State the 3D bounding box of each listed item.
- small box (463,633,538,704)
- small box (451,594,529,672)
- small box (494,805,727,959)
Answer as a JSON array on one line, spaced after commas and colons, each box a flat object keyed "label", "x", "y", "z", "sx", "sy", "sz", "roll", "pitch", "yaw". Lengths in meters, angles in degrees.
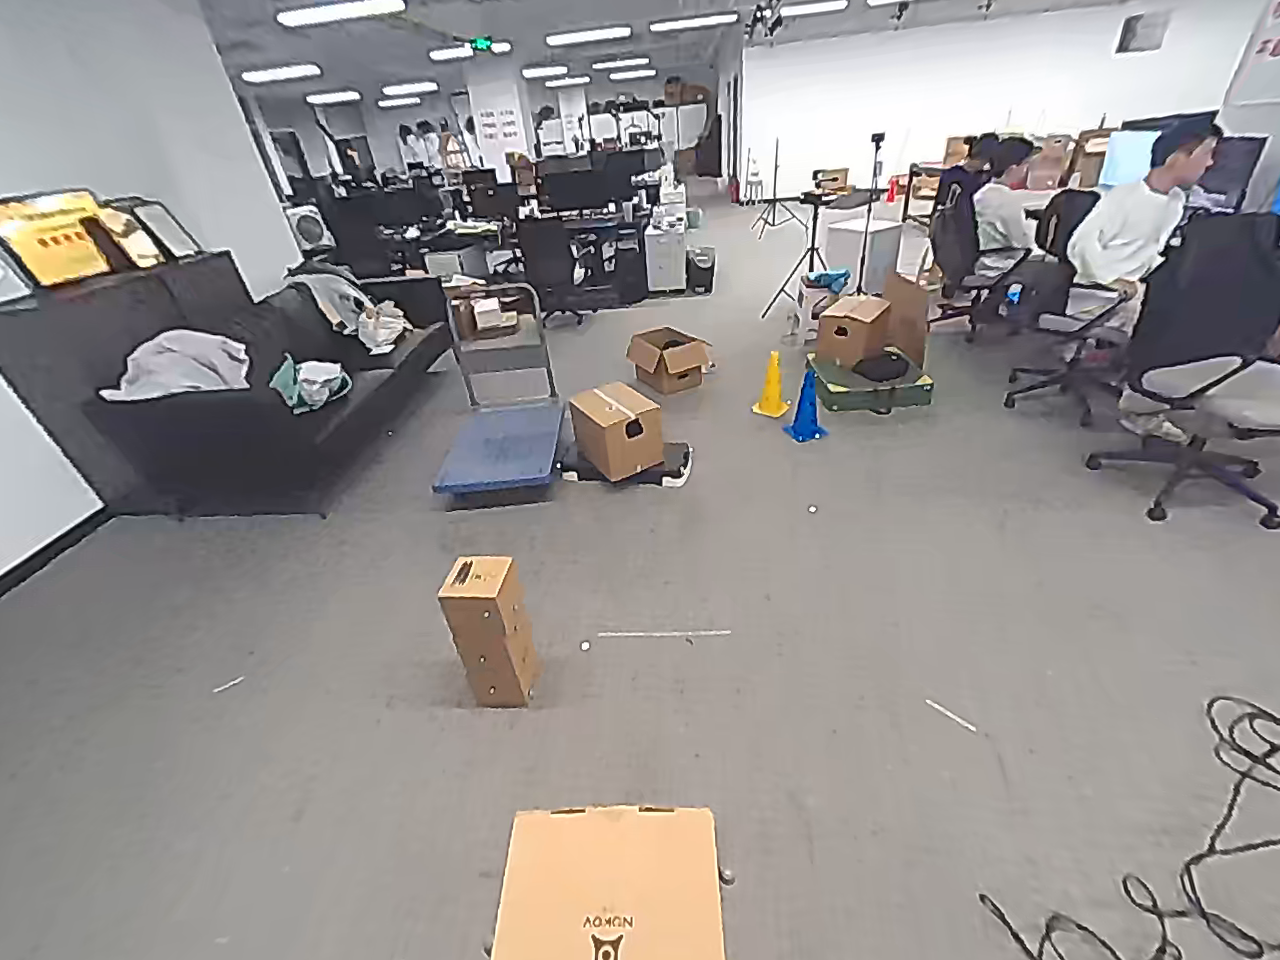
[{"label": "small box", "x": -0.449, "y": 0.615, "z": 1.773, "sx": 0.179, "sy": 0.176, "sz": 0.168, "roll": -2, "pitch": 34, "yaw": 8}, {"label": "small box", "x": -0.458, "y": 0.477, "z": 1.683, "sx": 0.168, "sy": 0.176, "sz": 0.179, "roll": -1, "pitch": 34, "yaw": 7}, {"label": "small box", "x": -0.014, "y": 0.385, "z": 0.429, "sx": 0.168, "sy": 0.176, "sz": 0.179, "roll": -3, "pitch": 39, "yaw": 3}]
